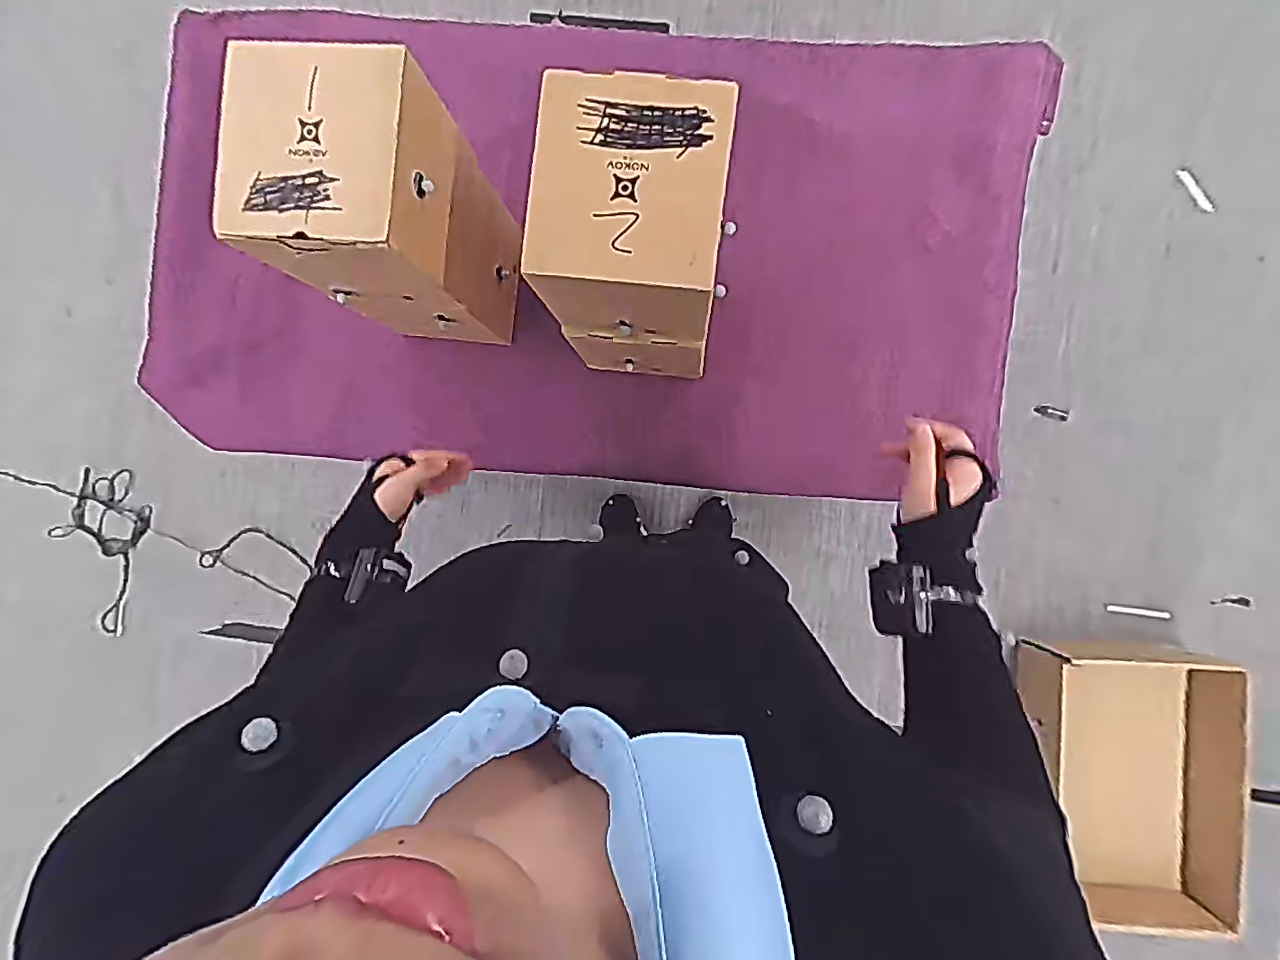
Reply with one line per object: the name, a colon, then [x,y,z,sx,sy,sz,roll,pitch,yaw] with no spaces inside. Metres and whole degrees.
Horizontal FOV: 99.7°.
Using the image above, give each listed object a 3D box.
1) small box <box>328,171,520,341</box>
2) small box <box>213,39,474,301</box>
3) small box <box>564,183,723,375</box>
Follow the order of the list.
small box: [-0.269,-0.288,0.713,0.179,0.176,0.168,7,90,5]
small box: [-0.282,-0.295,0.549,0.168,0.176,0.179,5,90,4]
small box: [0.008,-0.244,0.691,0.168,0.176,0.179,7,90,5]
